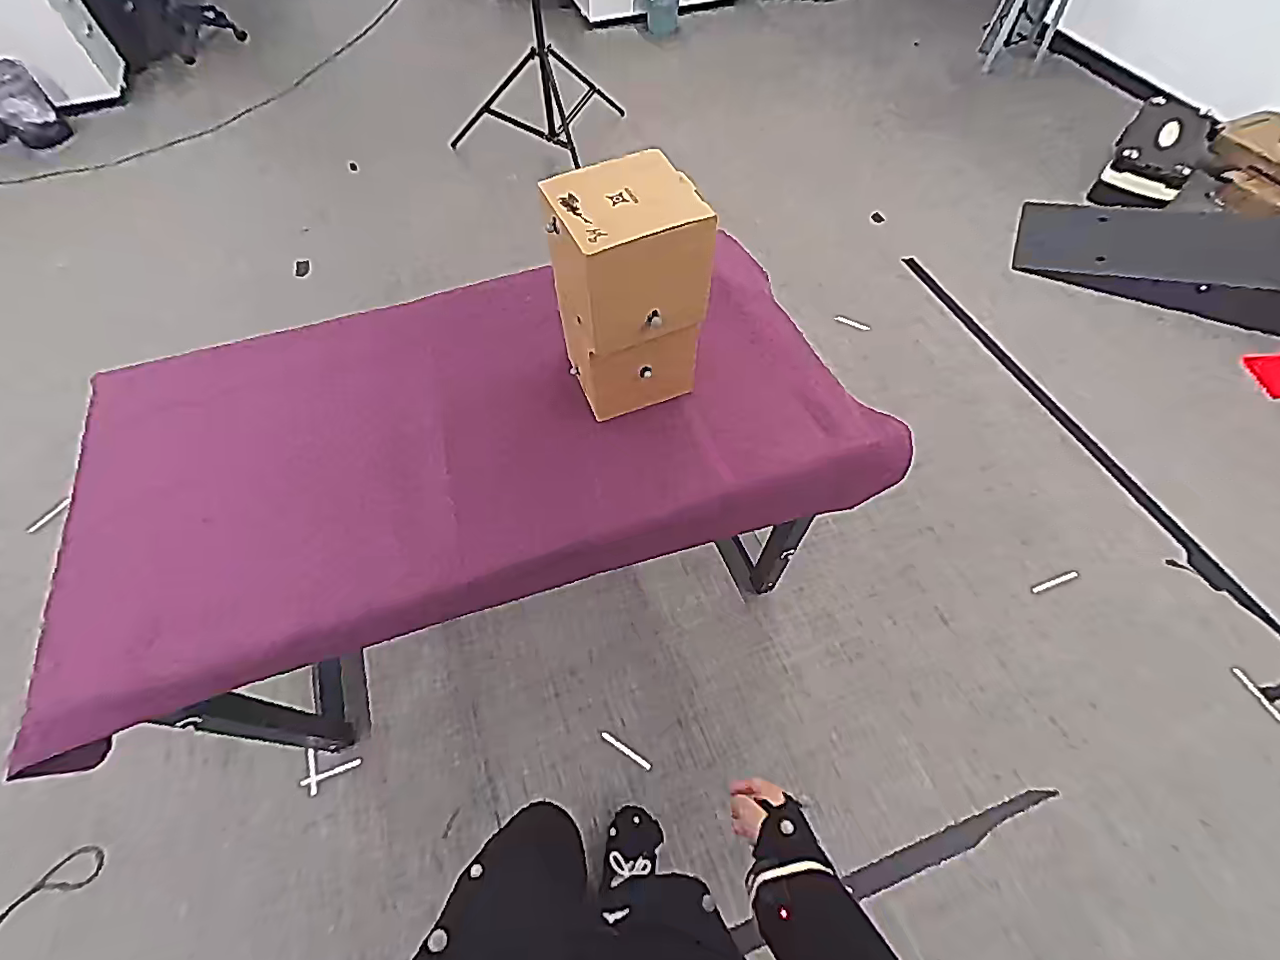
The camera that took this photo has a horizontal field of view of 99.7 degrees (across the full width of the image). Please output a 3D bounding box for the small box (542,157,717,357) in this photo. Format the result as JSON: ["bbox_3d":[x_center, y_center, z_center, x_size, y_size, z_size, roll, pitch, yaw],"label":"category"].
[{"bbox_3d":[-0.017,-0.301,0.742,0.179,0.176,0.168,-22,60,-13],"label":"small box"}]
